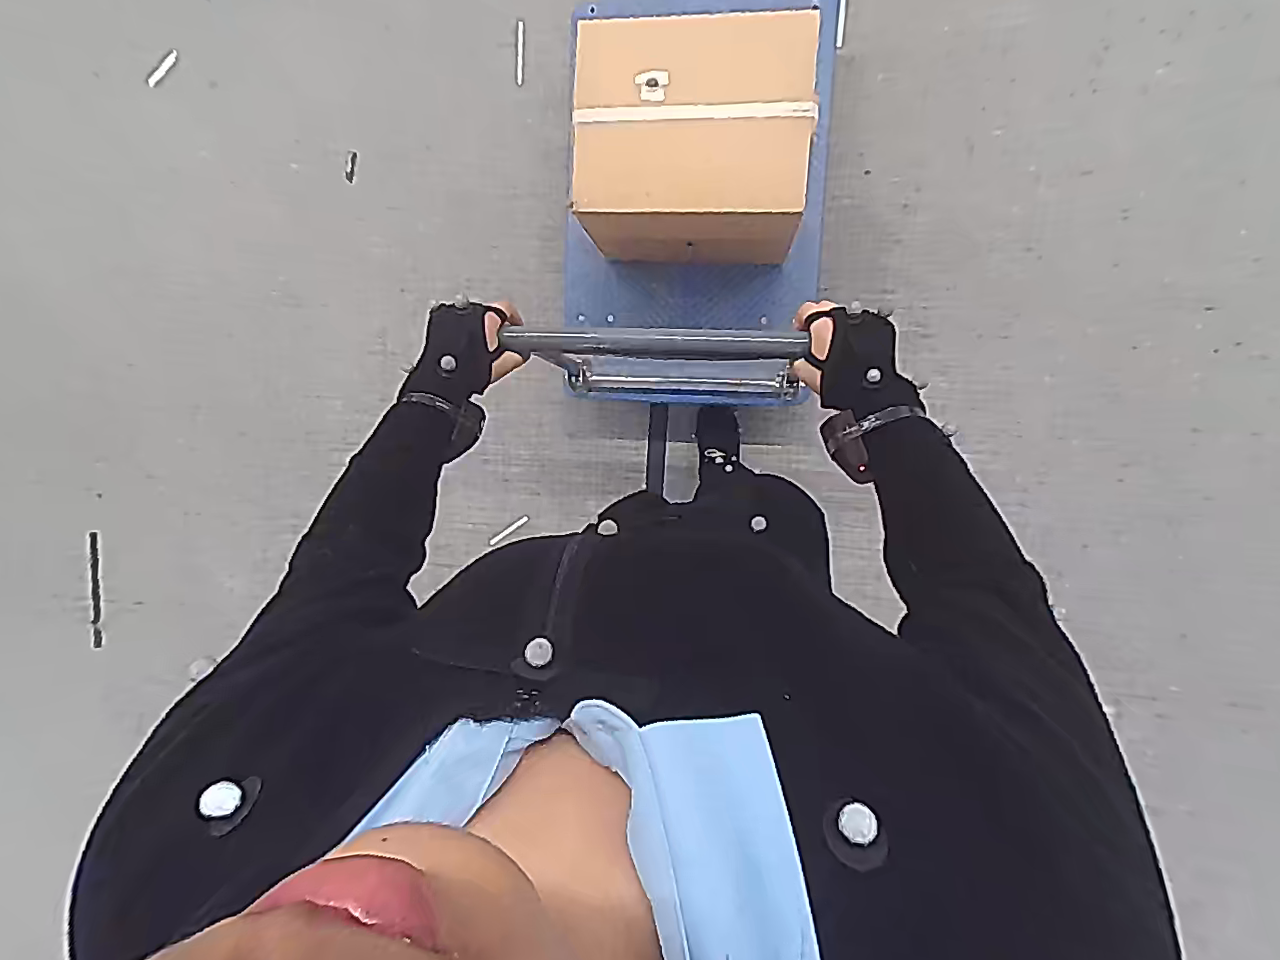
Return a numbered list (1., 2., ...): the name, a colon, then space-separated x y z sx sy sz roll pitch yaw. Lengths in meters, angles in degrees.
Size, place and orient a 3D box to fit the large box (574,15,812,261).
1. large box: 0.108 -0.636 1.076 0.408 0.320 0.320 4 96 9
